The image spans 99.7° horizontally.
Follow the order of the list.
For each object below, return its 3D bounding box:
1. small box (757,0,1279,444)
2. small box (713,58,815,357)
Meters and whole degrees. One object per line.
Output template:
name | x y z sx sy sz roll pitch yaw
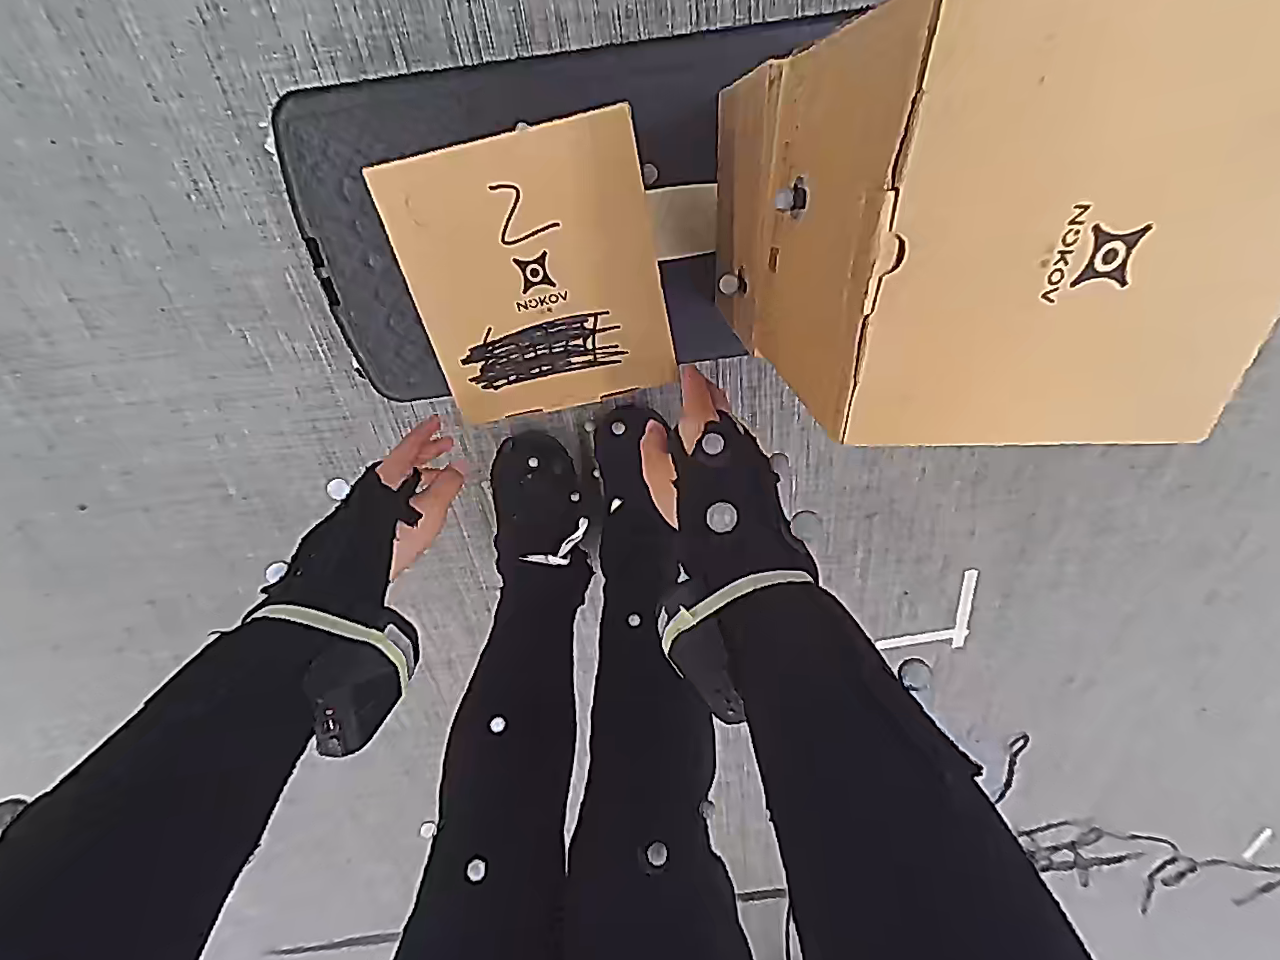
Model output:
small box | 0.172 -0.129 0.278 0.179 0.176 0.168 -1 121 -2
small box | 0.153 -0.208 0.419 0.168 0.176 0.179 -4 120 -1
